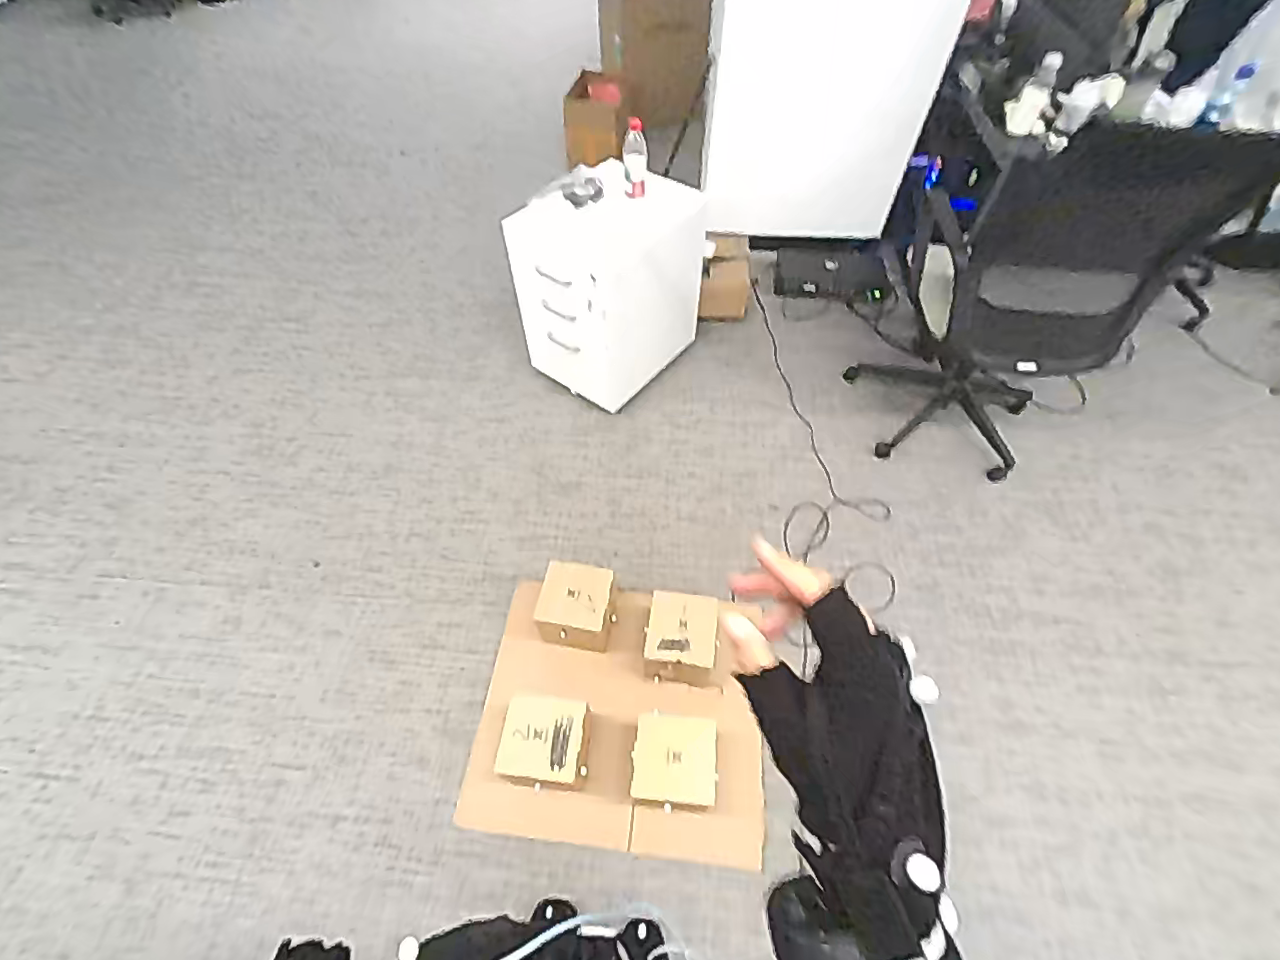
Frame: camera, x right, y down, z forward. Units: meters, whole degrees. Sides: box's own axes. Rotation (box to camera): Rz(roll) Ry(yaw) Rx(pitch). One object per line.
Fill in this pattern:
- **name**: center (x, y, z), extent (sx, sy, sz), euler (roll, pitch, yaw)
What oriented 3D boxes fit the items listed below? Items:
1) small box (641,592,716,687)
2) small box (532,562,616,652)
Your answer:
- **small box**: center (0.101, 0.411, 1.380), extent (0.168, 0.176, 0.179), euler (7, 54, 7)
- **small box**: center (-0.166, 0.340, 1.429), extent (0.179, 0.176, 0.168), euler (9, 55, 7)
